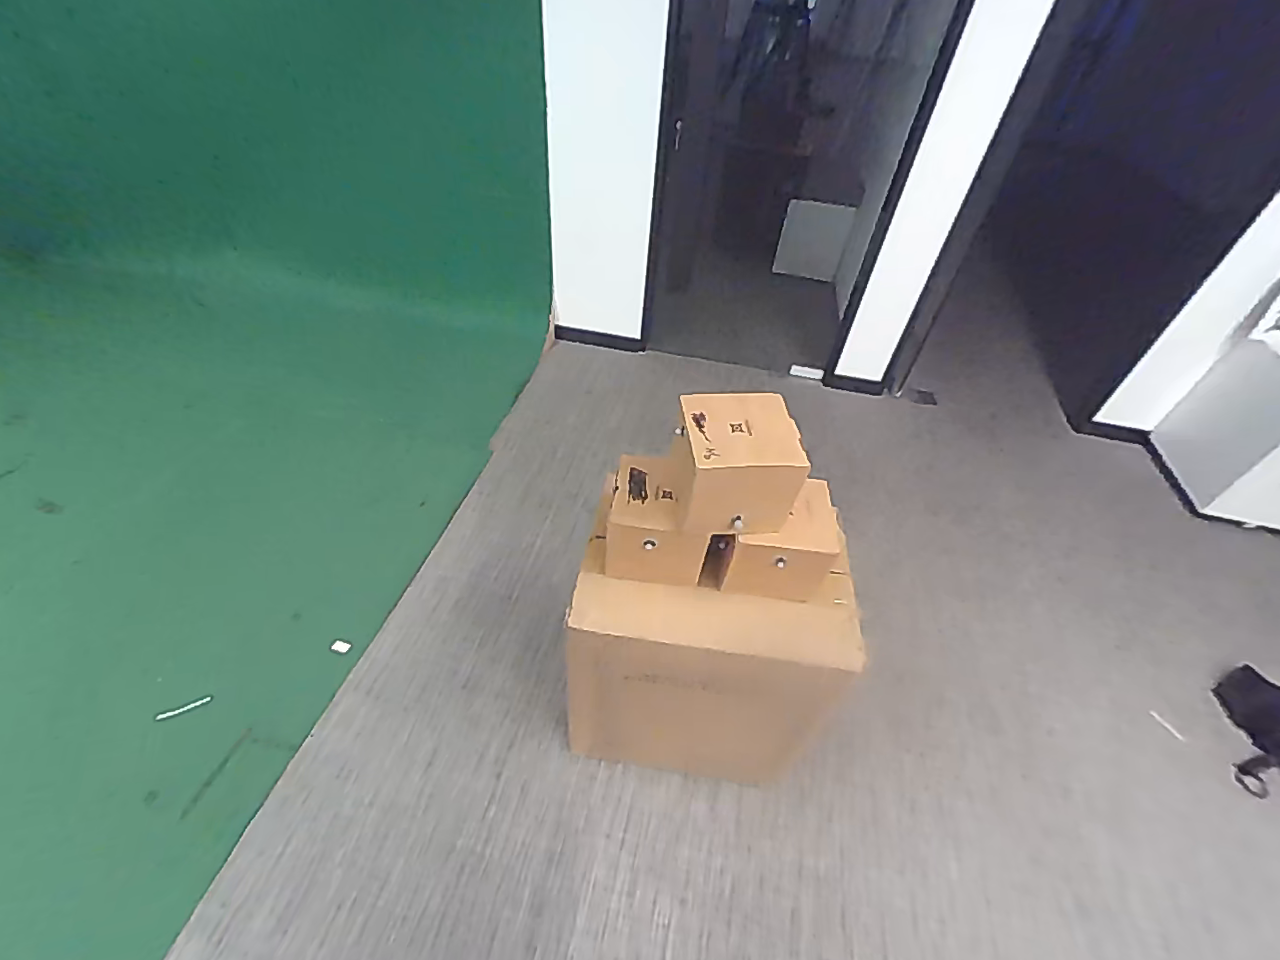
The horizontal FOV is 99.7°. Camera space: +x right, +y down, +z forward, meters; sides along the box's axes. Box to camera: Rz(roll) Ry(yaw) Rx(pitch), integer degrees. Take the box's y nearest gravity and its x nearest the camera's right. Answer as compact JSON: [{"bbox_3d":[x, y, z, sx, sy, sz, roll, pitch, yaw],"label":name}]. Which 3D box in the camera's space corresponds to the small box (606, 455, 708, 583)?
[{"bbox_3d":[0.033,0.077,1.021,0.179,0.176,0.168,8,48,0],"label":"small box"}]

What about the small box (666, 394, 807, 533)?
[{"bbox_3d":[0.150,-0.024,0.904,0.179,0.176,0.168,-1,48,-8],"label":"small box"}]
